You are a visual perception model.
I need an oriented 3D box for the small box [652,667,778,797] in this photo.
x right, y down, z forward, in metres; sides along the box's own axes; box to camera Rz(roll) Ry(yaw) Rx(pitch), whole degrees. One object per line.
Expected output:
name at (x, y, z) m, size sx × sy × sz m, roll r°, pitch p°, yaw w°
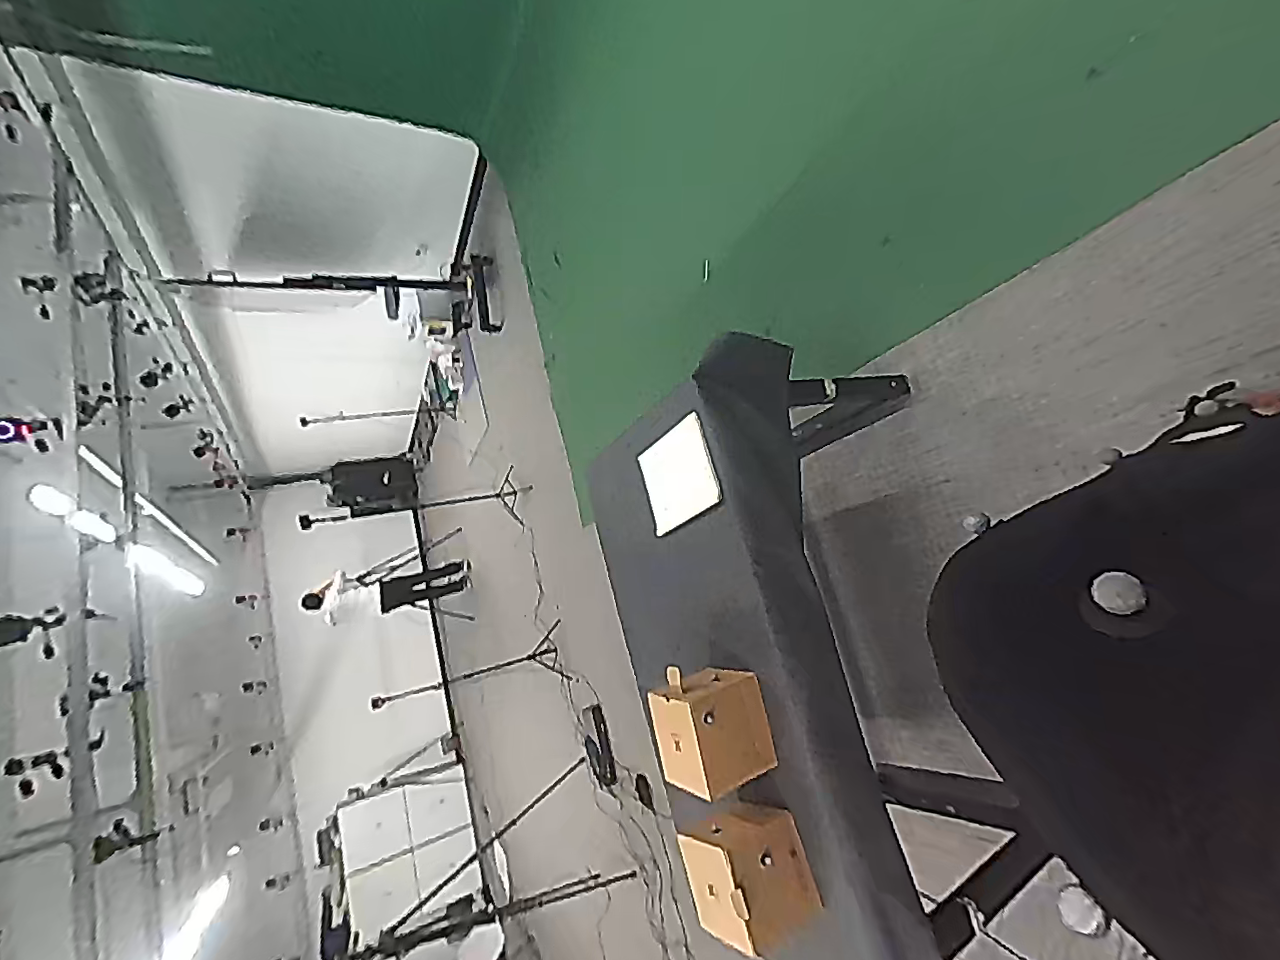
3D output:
small box at (0.149, 0.487, 1.073) m, size 0.168 × 0.176 × 0.179 m, roll -28°, pitch 72°, yaw 59°

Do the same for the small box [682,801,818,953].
small box at (0.211, 0.734, 1.025) m, size 0.179 × 0.176 × 0.168 m, roll -44°, pitch 58°, yaw 56°
